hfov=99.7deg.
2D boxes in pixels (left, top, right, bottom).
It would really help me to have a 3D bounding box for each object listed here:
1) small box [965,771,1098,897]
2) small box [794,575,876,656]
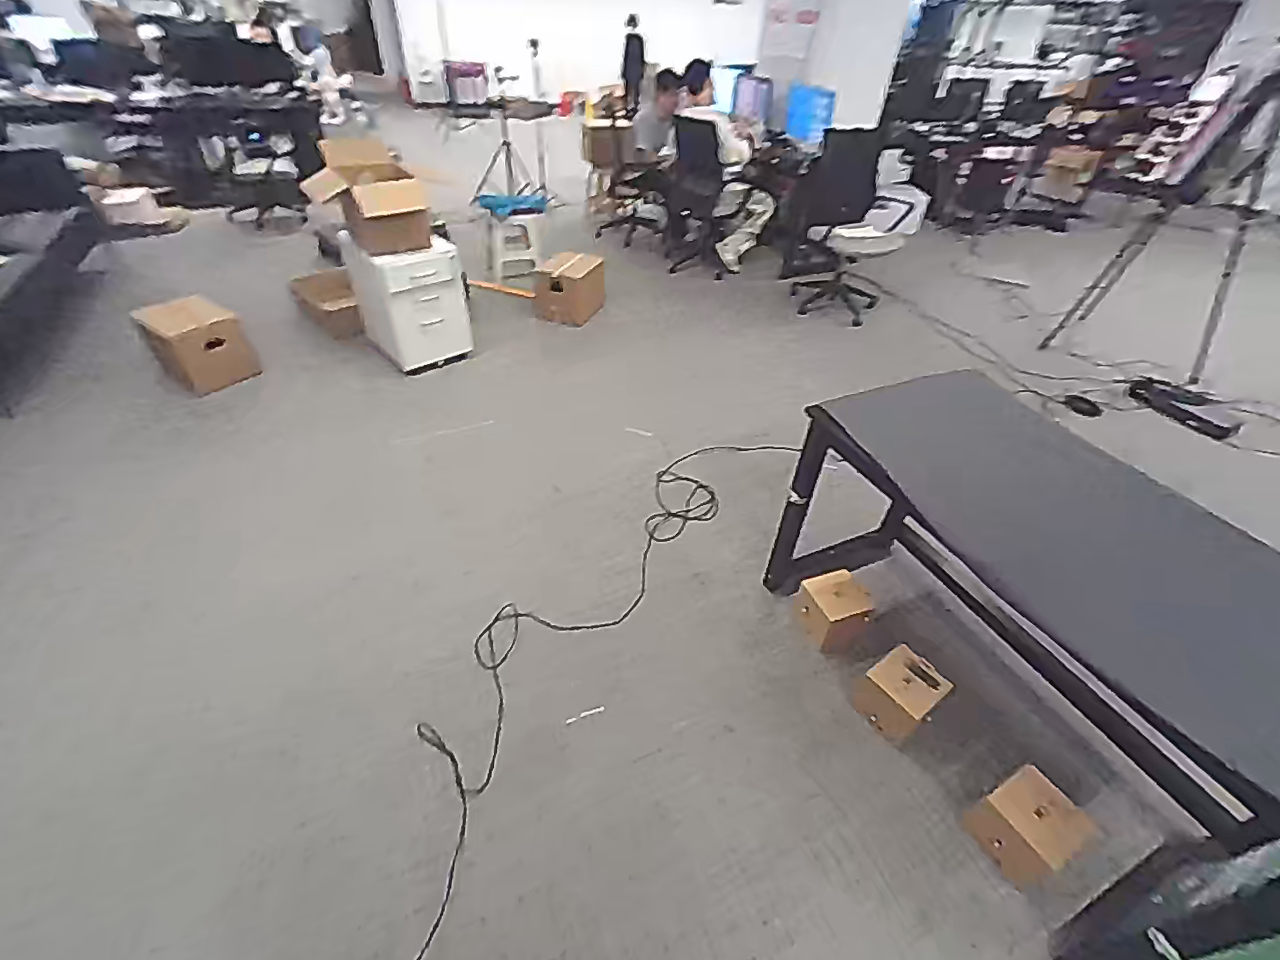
[{"bbox_3d":[0.912,0.841,1.281,0.179,0.176,0.168,-17,45,-23],"label":"small box"},{"bbox_3d":[0.618,0.440,1.746,0.179,0.176,0.168,-11,41,-17],"label":"small box"}]
